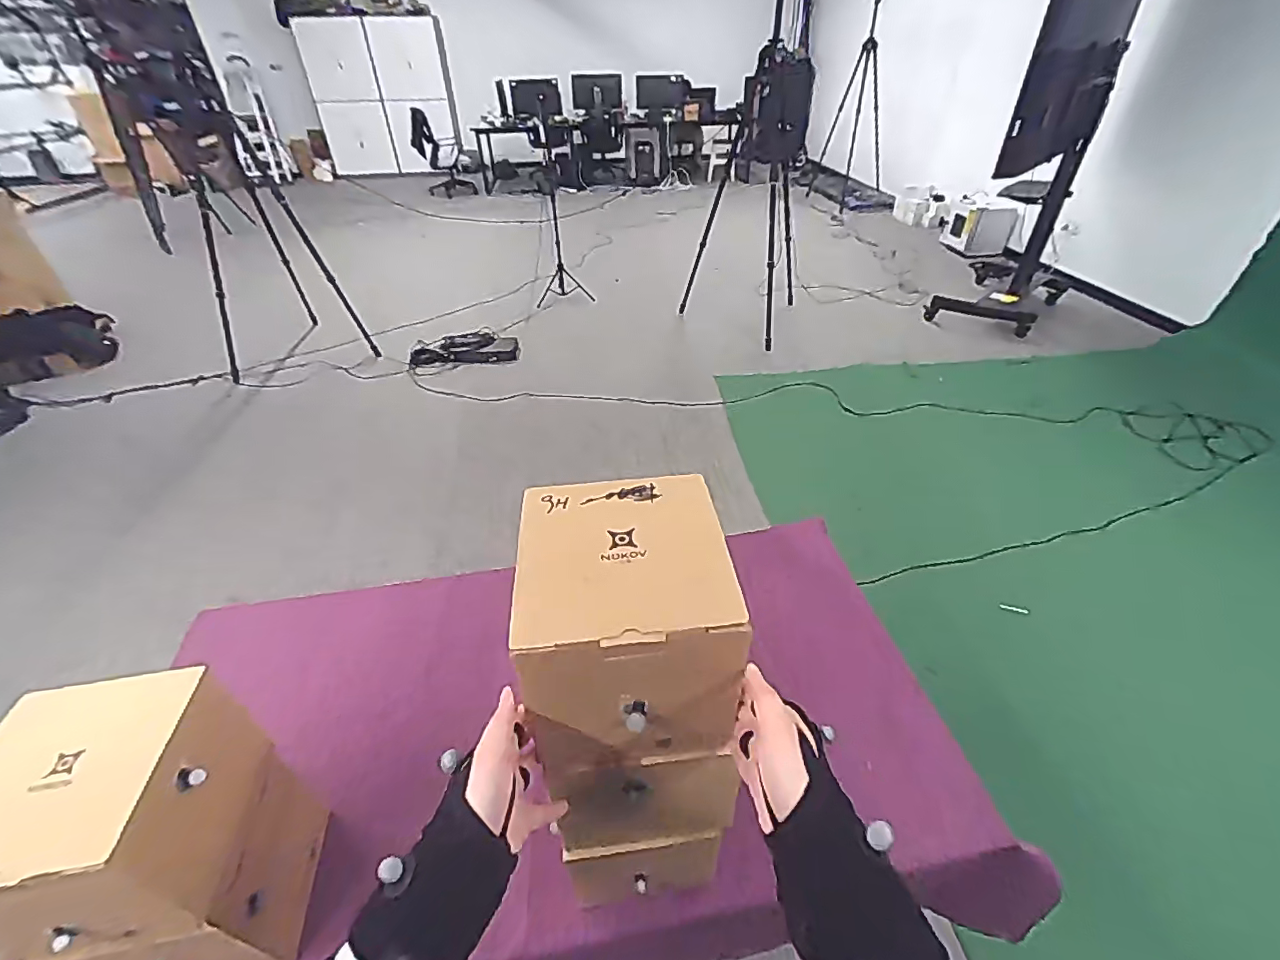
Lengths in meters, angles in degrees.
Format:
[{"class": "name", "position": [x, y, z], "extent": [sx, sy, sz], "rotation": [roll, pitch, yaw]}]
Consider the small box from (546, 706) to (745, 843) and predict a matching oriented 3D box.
[{"class": "small box", "position": [0.001, 0.257, 0.572], "extent": [0.179, 0.176, 0.168], "rotation": [-5, 39, -4]}]

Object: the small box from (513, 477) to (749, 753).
[{"class": "small box", "position": [-0.009, 0.120, 0.478], "extent": [0.168, 0.176, 0.179], "rotation": [-4, 39, -3]}]

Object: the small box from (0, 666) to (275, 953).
[{"class": "small box", "position": [-0.490, 0.311, 0.520], "extent": [0.168, 0.176, 0.179], "rotation": [-7, 40, -7]}]

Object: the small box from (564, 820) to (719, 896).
[{"class": "small box", "position": [-0.003, 0.388, 0.671], "extent": [0.168, 0.176, 0.179], "rotation": [-5, 39, -5]}]
